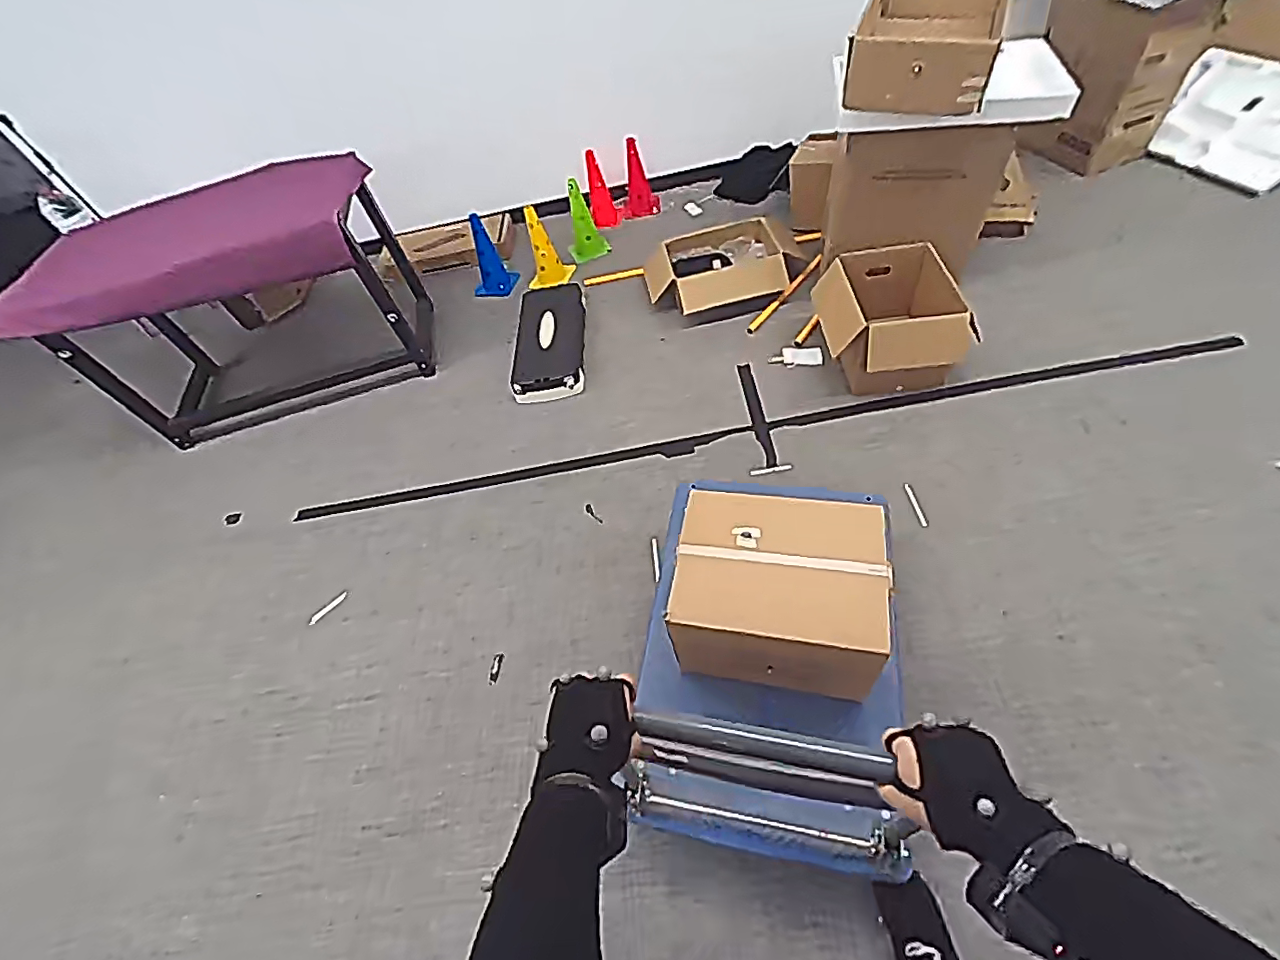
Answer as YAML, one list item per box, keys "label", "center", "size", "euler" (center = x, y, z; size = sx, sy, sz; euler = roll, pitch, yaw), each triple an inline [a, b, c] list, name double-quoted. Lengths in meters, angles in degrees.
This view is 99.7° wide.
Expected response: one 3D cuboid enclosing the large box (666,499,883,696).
- label: "large box"
  center: [0.300, 0.263, 1.212]
  size: [0.408, 0.320, 0.320]
  euler: [4, 53, 16]
